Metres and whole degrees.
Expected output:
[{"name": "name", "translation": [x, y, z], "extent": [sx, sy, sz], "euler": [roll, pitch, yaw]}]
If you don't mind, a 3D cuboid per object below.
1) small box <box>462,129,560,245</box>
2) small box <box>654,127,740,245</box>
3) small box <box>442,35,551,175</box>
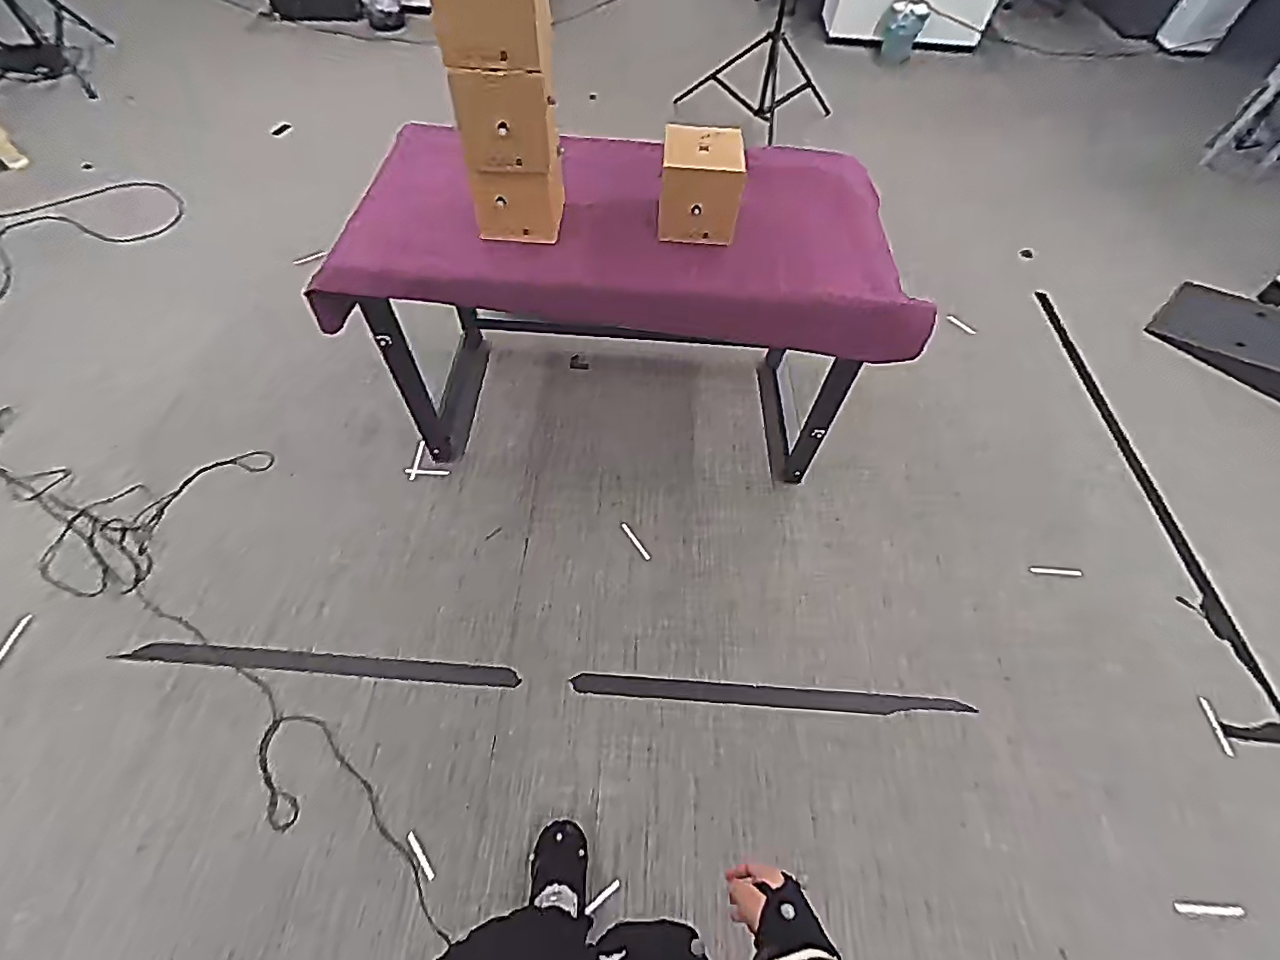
[{"name": "small box", "translation": [-0.269, -0.631, 1.168], "extent": [0.168, 0.176, 0.179], "euler": [3, 57, -1]}, {"name": "small box", "translation": [0.121, -0.644, 1.194], "extent": [0.168, 0.176, 0.179], "euler": [3, 57, -1]}, {"name": "small box", "translation": [-0.258, -0.702, 1.019], "extent": [0.168, 0.176, 0.179], "euler": [-1, 58, -4]}]
